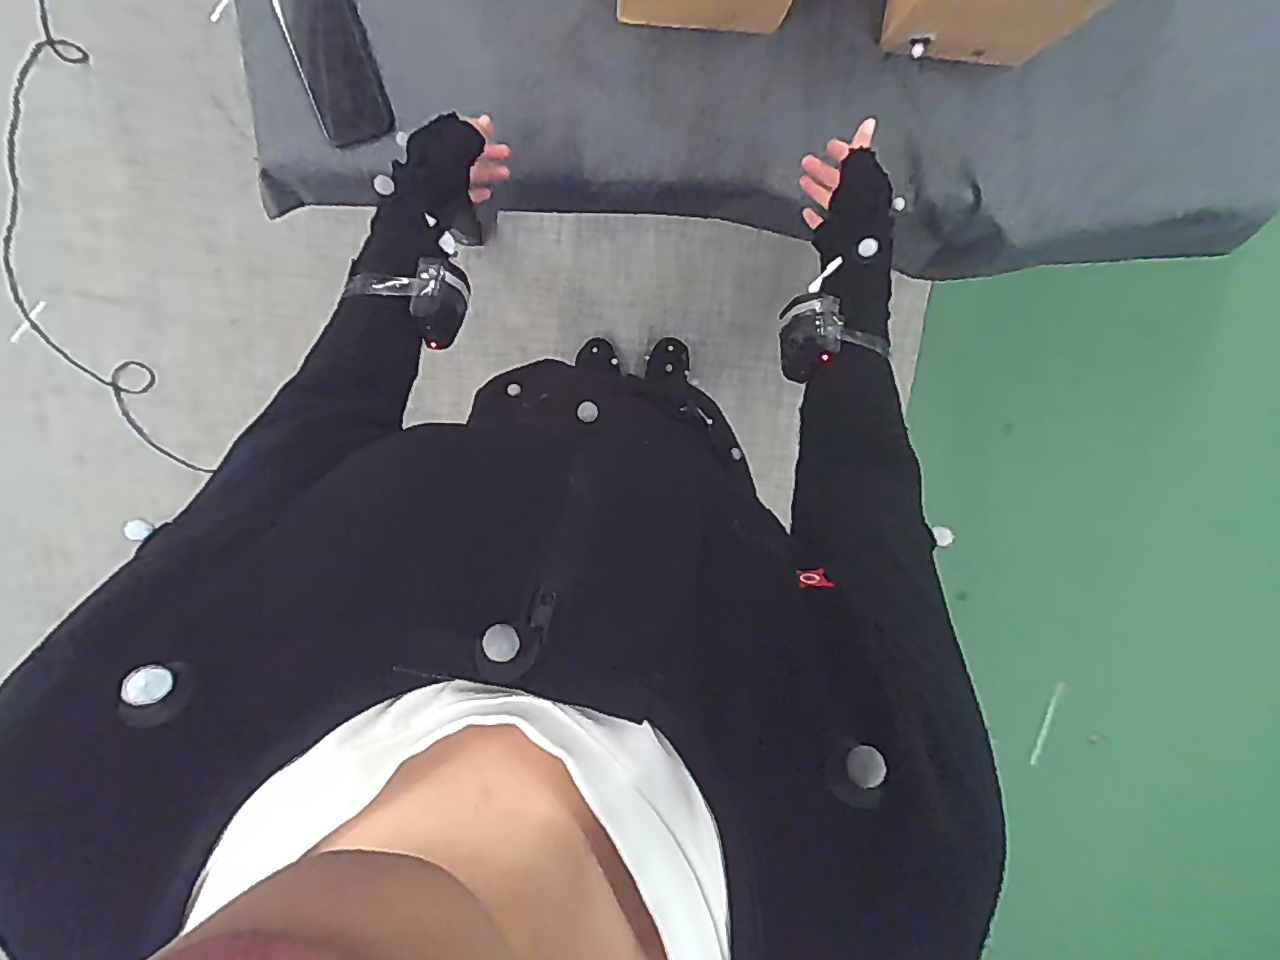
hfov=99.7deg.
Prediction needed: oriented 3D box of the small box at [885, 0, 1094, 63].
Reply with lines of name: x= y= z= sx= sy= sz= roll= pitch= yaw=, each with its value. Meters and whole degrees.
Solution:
small box: x=0.359 y=-0.539 z=0.514 sx=0.168 sy=0.176 sz=0.179 roll=4 pitch=104 yaw=-4

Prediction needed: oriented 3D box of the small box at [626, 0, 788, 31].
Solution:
small box: x=0.074 y=-0.555 z=0.498 sx=0.179 sy=0.176 sz=0.168 roll=2 pitch=105 yaw=-2
